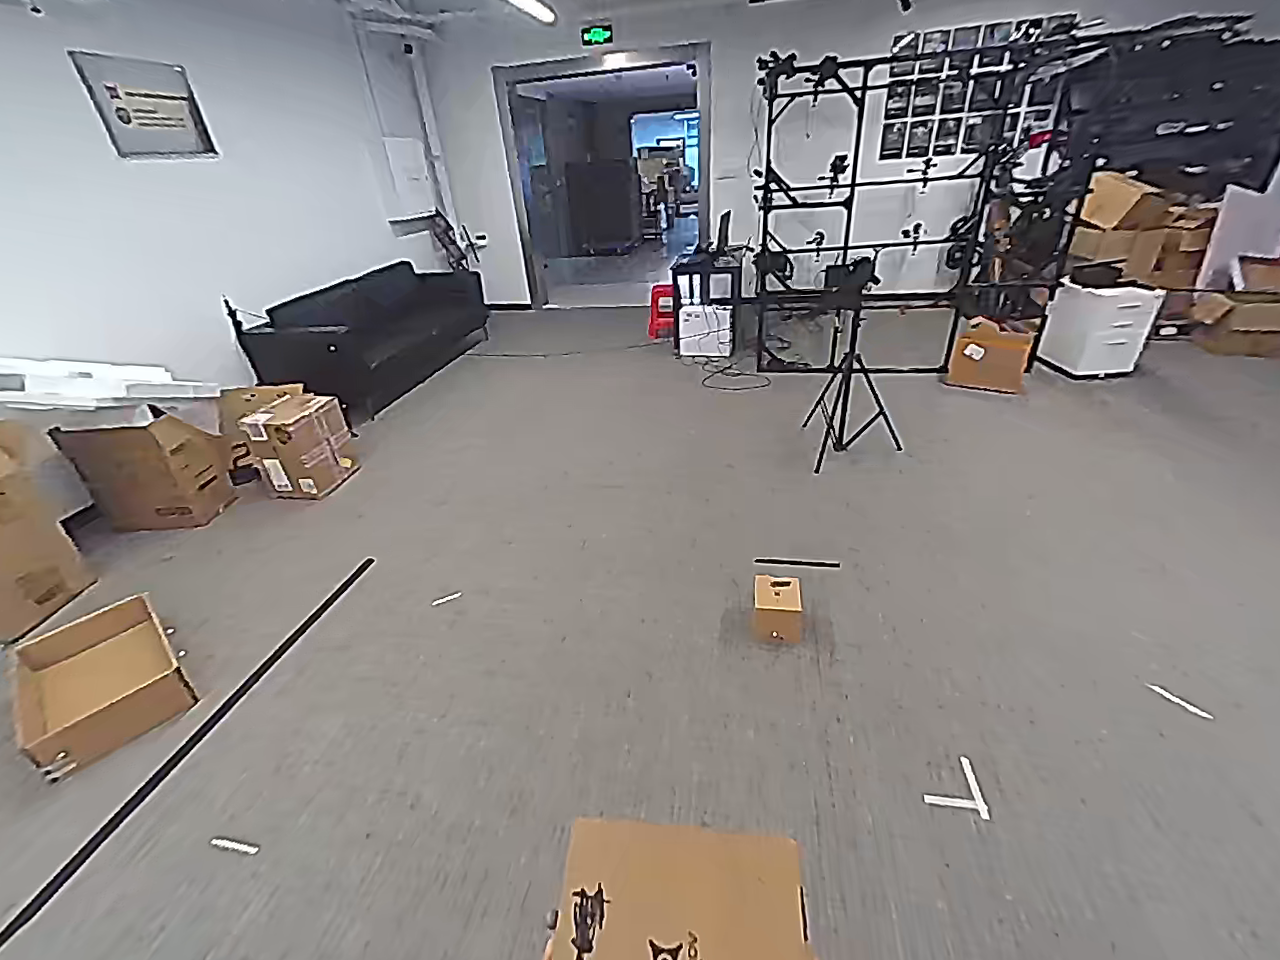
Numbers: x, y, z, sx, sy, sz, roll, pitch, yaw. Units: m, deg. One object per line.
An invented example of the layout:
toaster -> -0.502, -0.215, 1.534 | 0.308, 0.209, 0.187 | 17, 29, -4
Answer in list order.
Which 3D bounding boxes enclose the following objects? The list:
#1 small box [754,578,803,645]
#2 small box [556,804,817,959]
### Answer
small box -> 0.515, 0.492, 2.029 | 0.168, 0.176, 0.179 | 2, 32, 11
small box -> 0.035, 0.371, 0.421 | 0.179, 0.176, 0.168 | 2, 48, 7
